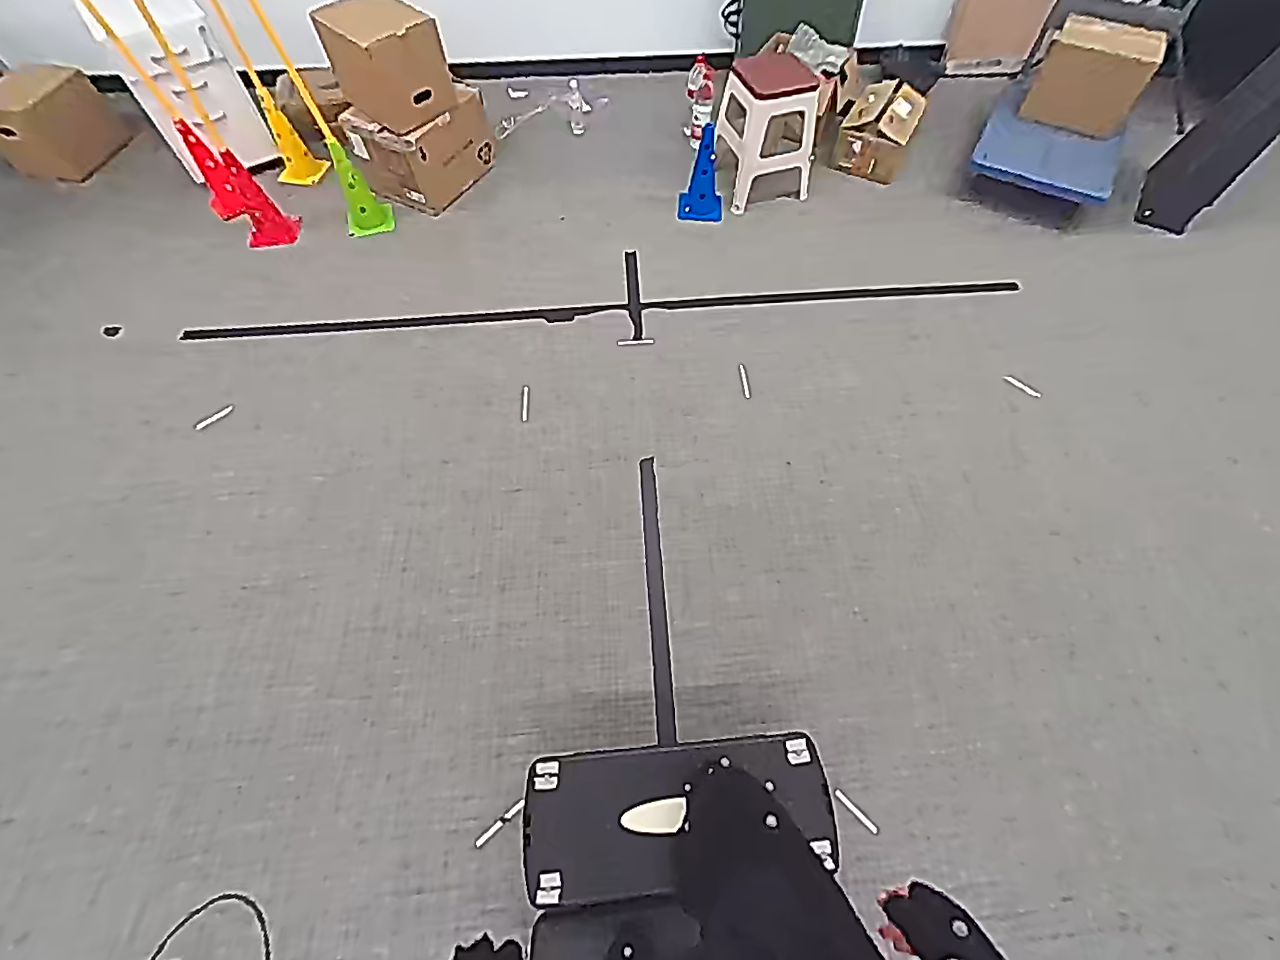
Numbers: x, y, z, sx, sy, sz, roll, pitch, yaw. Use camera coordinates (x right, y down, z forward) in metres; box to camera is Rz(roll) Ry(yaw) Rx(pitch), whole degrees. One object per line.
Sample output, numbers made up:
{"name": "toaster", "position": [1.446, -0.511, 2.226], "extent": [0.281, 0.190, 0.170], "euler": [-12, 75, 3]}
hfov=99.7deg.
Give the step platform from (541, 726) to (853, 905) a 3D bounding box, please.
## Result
{"name": "step platform", "position": [0.119, 0.753, 1.240], "extent": [0.684, 0.204, 0.286], "euler": [-5, 60, -4]}
